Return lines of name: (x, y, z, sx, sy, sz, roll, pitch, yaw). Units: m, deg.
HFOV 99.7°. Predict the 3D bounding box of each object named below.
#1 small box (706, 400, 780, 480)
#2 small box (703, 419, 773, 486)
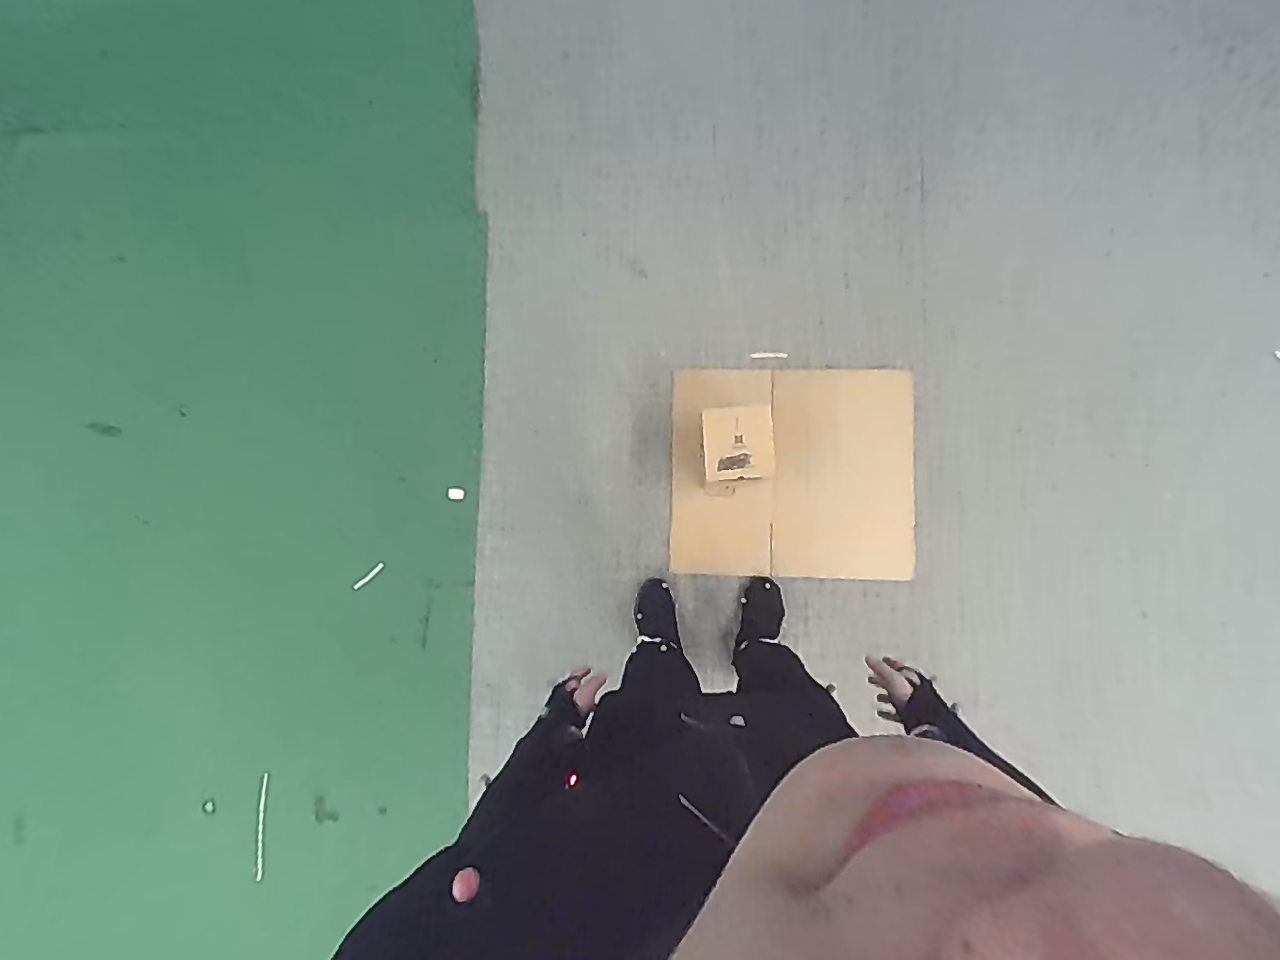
small box: (0.249, -0.091, 1.337, 0.168, 0.176, 0.179, -3, 85, 6)
small box: (0.266, -0.080, 1.499, 0.168, 0.176, 0.179, -6, 86, 5)
